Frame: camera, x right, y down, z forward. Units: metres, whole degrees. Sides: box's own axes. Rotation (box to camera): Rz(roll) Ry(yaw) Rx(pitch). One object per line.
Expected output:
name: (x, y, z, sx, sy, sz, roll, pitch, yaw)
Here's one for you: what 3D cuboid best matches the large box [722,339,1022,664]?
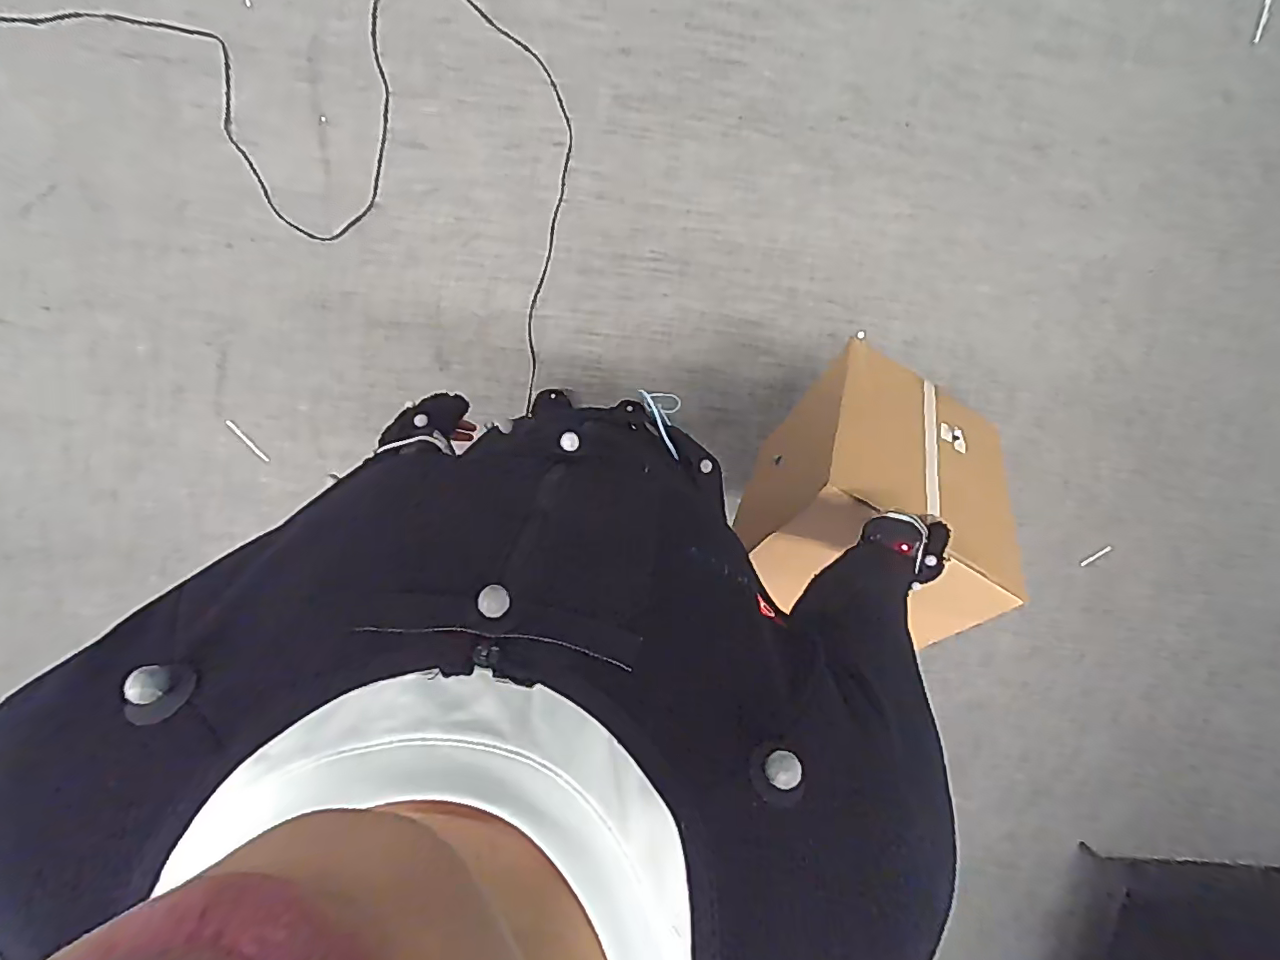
large box: (0.384, 0.036, 0.948, 0.320, 0.408, 0.320, 31, 137, -4)
